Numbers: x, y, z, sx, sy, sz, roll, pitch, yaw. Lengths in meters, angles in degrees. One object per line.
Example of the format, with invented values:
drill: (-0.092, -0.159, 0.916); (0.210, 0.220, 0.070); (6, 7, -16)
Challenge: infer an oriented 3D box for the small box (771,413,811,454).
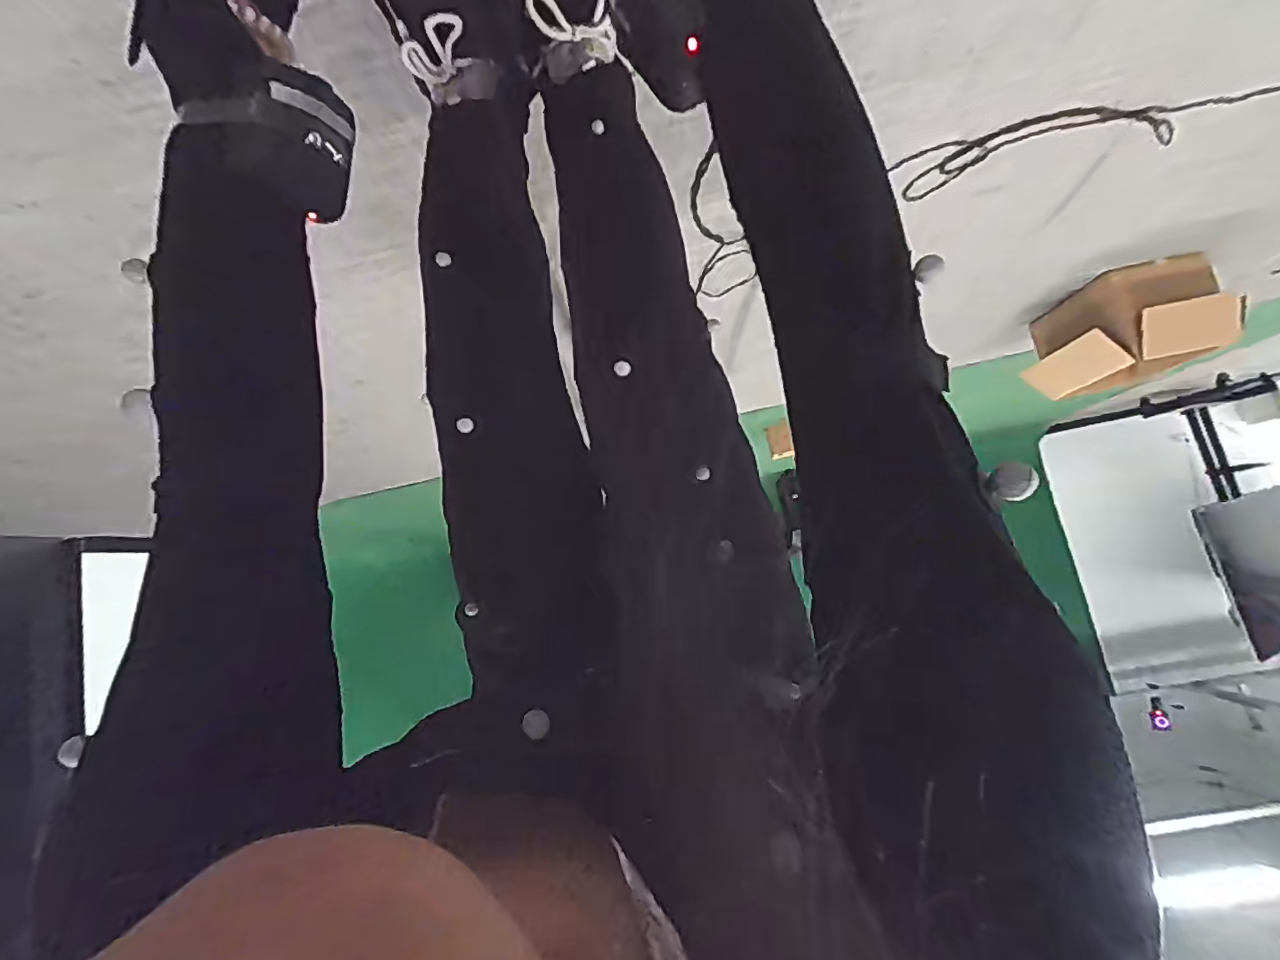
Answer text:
small box: (0.829, -0.257, 2.990); (0.179, 0.176, 0.168); (-13, 171, 8)
